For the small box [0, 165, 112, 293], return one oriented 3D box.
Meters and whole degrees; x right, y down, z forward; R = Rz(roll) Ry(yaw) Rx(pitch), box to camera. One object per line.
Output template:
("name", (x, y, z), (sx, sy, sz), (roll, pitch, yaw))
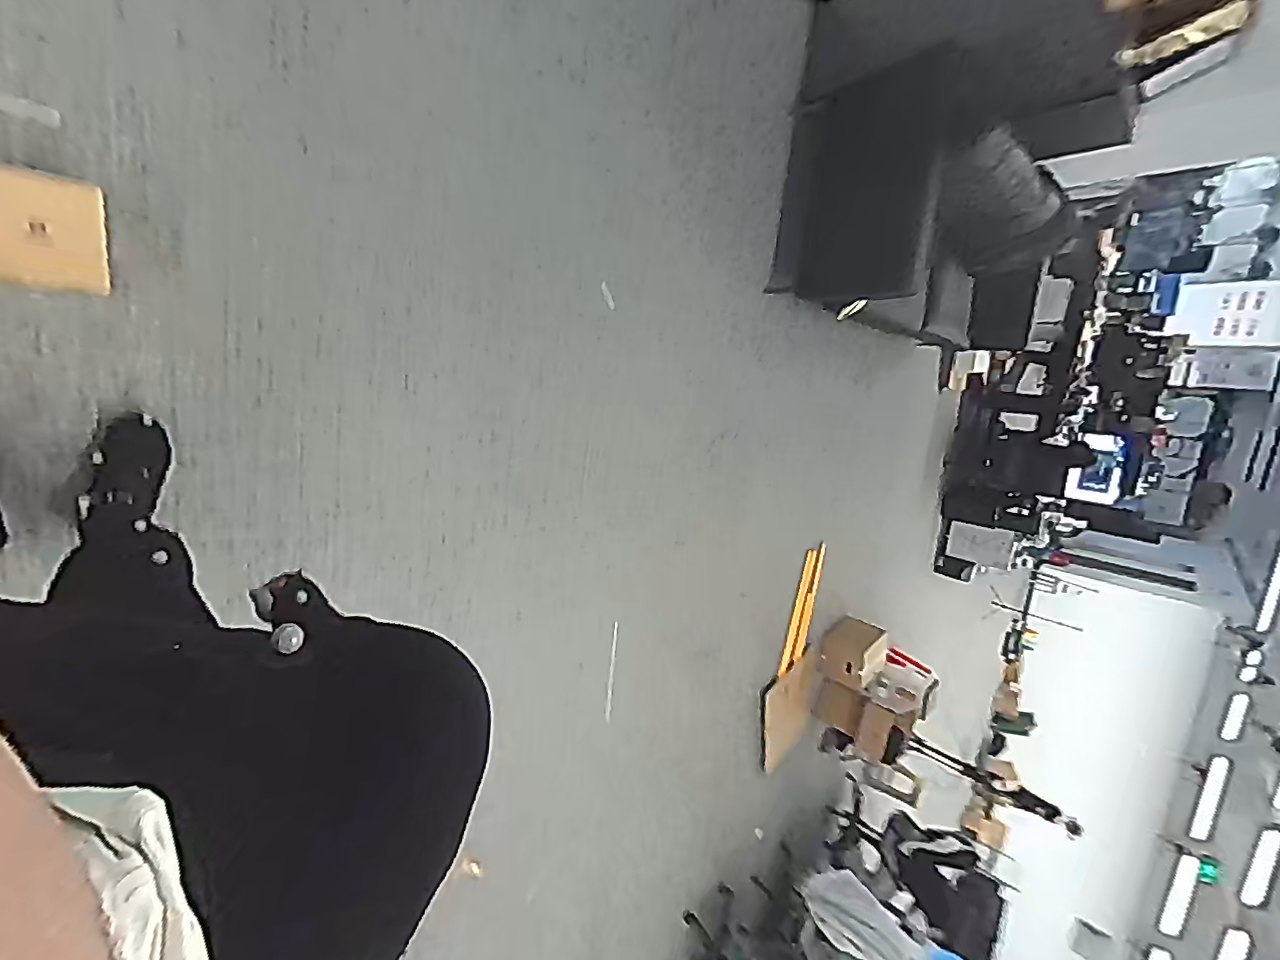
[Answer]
("small box", (-1.064, -0.439, 0.963), (0.168, 0.176, 0.179), (-5, 105, -44))
